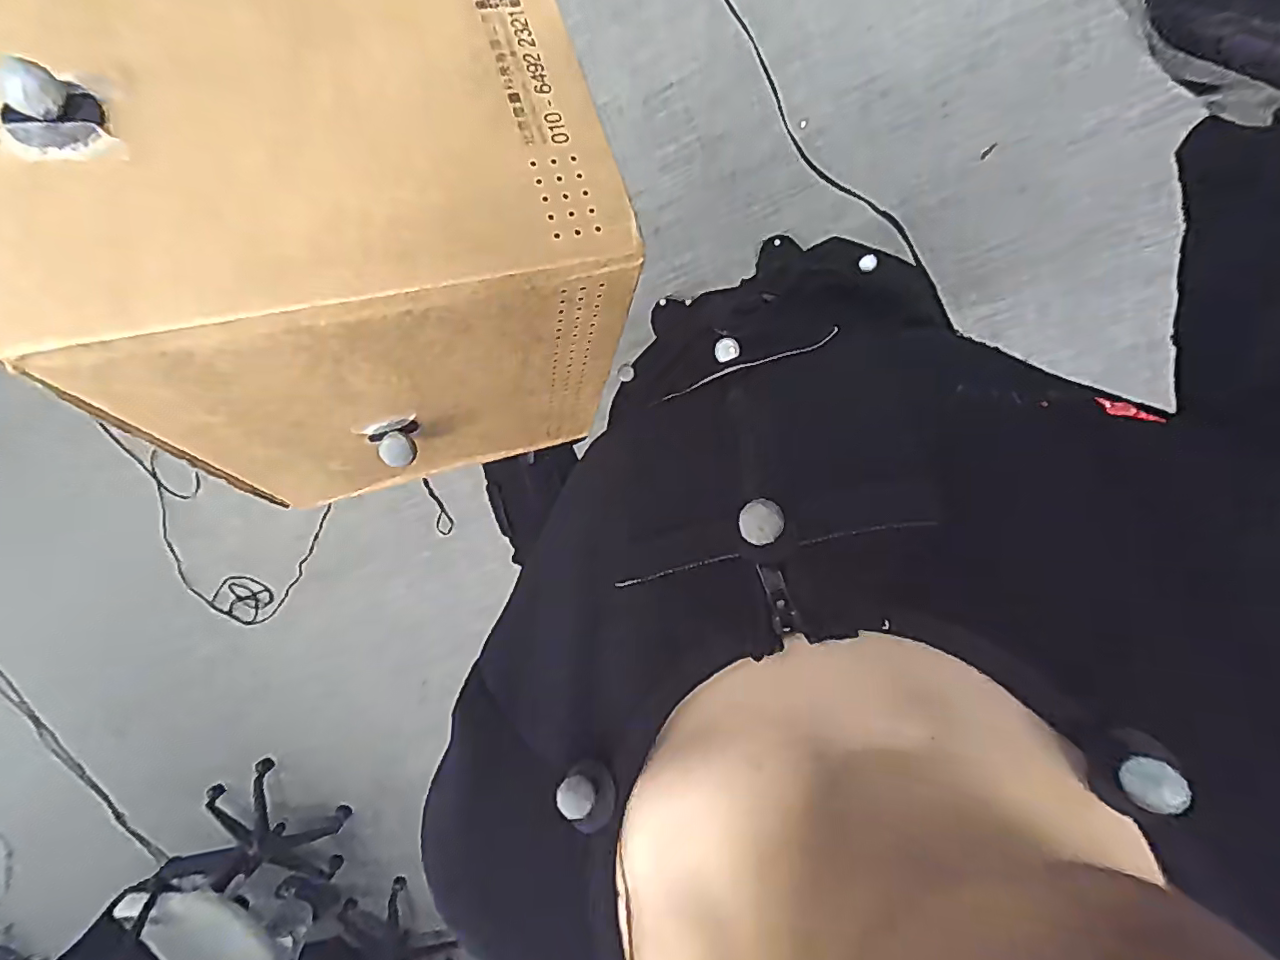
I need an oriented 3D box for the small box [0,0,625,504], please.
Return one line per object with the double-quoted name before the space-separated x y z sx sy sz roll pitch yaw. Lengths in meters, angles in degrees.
"small box" -0.114 -0.102 0.252 0.176 0.179 0.168 -16 79 -14
